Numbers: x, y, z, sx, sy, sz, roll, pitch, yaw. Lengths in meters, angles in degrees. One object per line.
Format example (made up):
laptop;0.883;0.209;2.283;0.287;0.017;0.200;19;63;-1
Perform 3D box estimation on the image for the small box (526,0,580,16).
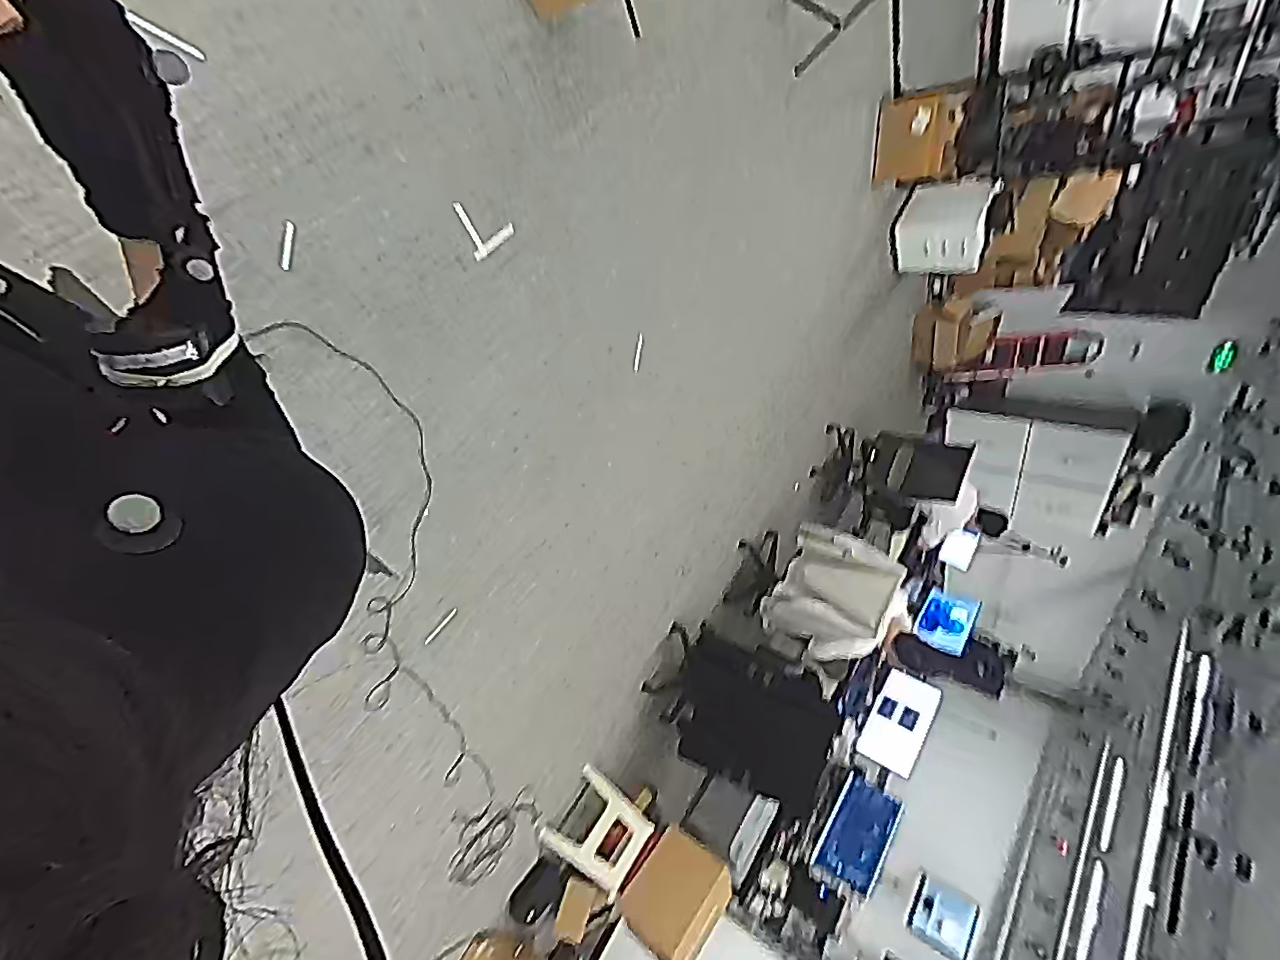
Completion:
small box;-0.245;-1.465;1.537;0.168;0.176;0.179;-57;139;-20
